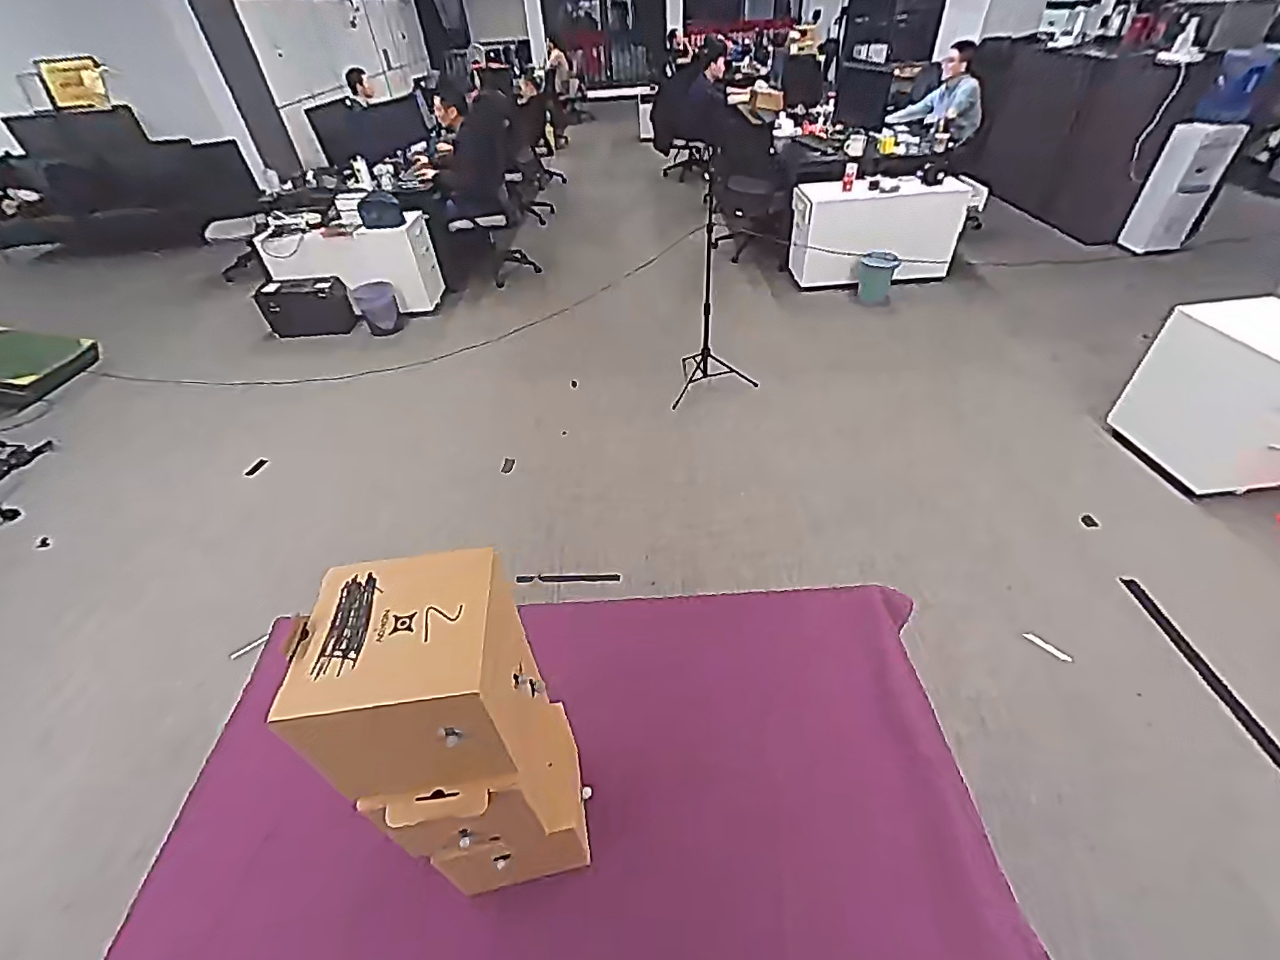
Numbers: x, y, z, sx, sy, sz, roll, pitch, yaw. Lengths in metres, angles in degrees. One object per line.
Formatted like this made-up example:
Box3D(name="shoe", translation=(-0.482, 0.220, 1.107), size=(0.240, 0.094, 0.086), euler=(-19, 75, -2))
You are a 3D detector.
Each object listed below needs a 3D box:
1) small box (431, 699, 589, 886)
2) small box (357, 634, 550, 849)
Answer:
Box3D(name="small box", translation=(-0.175, 0.441, 0.763), size=(0.179, 0.176, 0.168), euler=(-10, 42, -7))
Box3D(name="small box", translation=(-0.207, 0.316, 0.658), size=(0.168, 0.176, 0.179), euler=(-7, 42, -2))
